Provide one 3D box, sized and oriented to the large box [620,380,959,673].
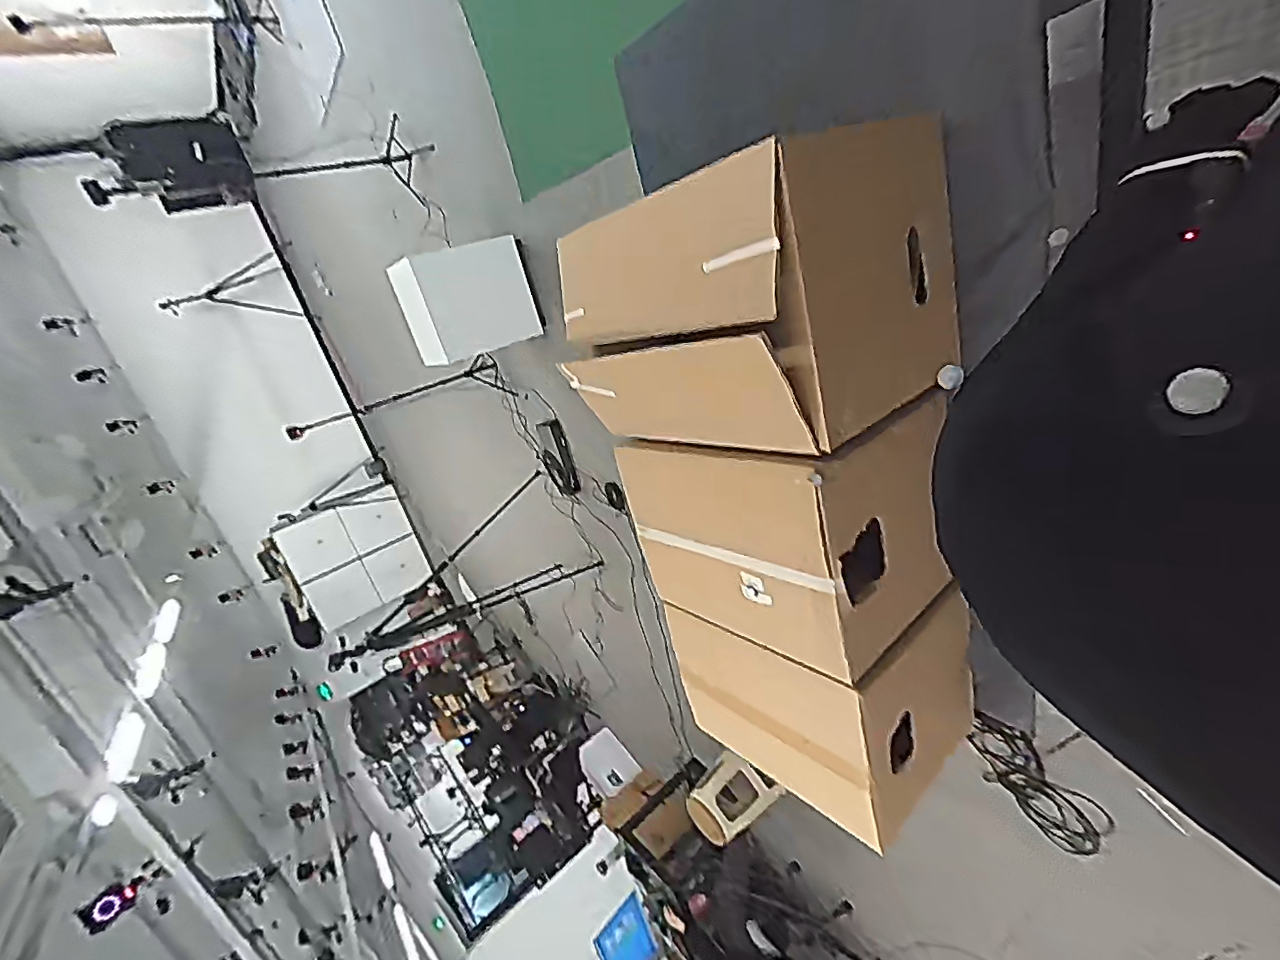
[{"bbox_3d":[0.234,0.035,0.880,0.408,0.320,0.320,9,122,52],"label":"large box"}]
